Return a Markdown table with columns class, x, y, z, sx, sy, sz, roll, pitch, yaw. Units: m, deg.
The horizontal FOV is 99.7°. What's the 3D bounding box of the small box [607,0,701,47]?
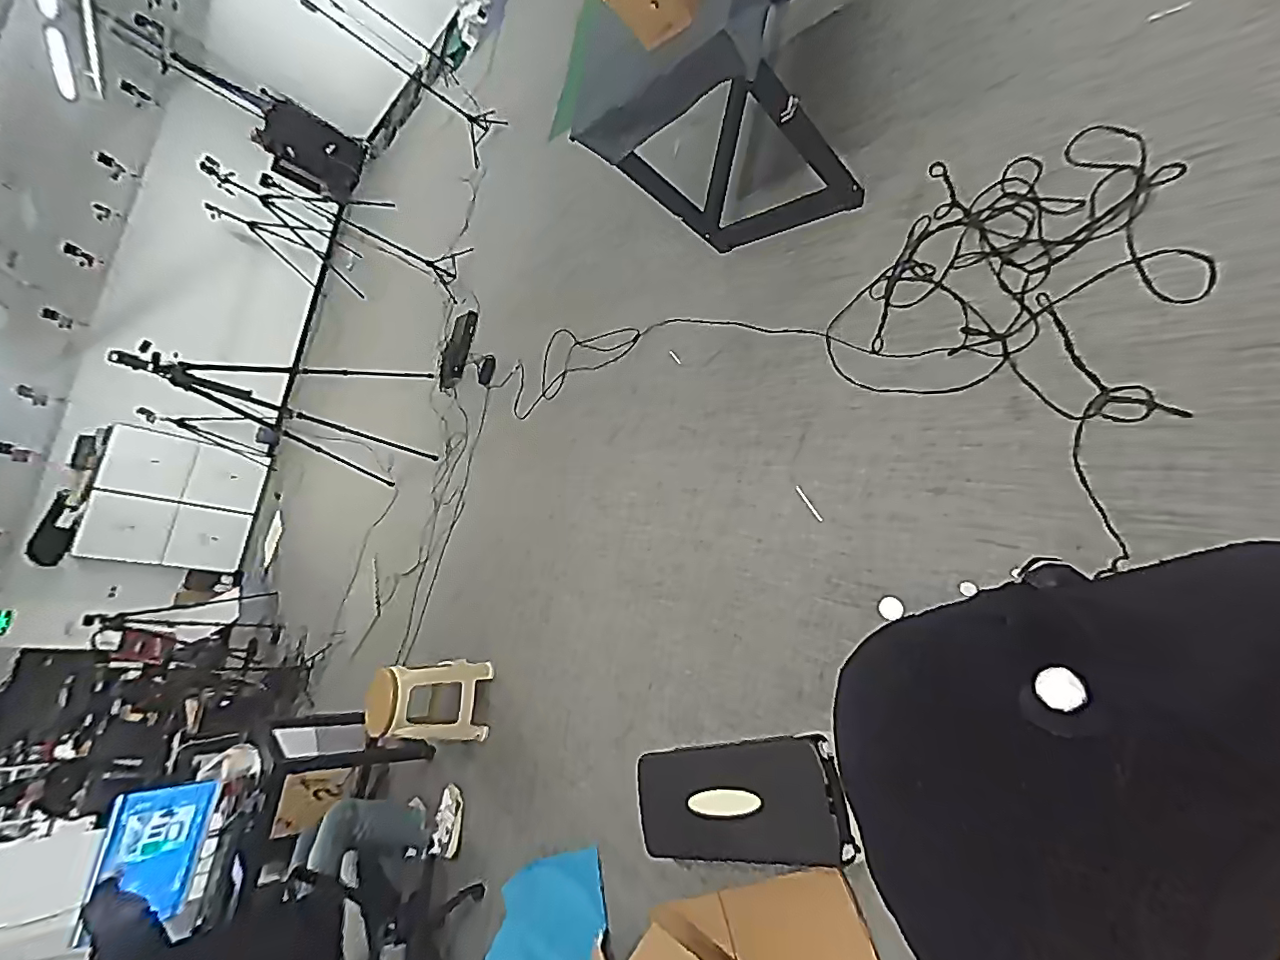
| class | x | y | z | sx | sy | sz | roll | pitch | yaw |
| --- | --- | --- | --- | --- | --- | --- | --- | --- | --- |
| small box | 0.051 | -1.207 | 1.314 | 0.168 | 0.176 | 0.179 | 15 | 86 | 48 |
